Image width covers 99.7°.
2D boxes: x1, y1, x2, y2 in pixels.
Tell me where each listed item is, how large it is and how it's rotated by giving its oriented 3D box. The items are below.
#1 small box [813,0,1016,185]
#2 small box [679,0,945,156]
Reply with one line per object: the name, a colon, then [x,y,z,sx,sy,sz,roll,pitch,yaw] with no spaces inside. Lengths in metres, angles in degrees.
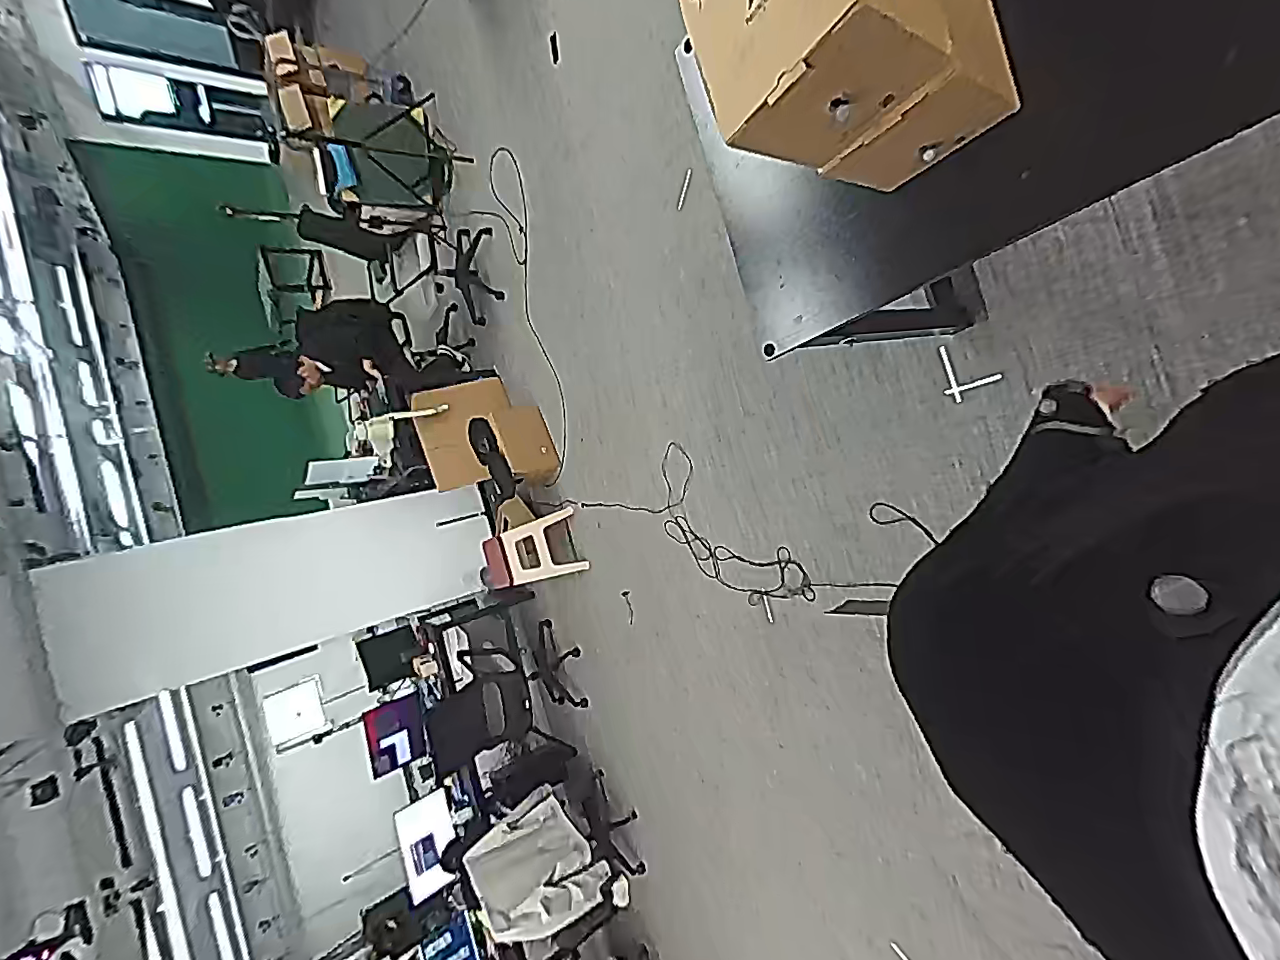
small box: [0.306,-0.482,0.640,0.168,0.176,0.179,-16,88,55]
small box: [0.173,-0.459,0.547,0.168,0.176,0.179,-21,85,54]
